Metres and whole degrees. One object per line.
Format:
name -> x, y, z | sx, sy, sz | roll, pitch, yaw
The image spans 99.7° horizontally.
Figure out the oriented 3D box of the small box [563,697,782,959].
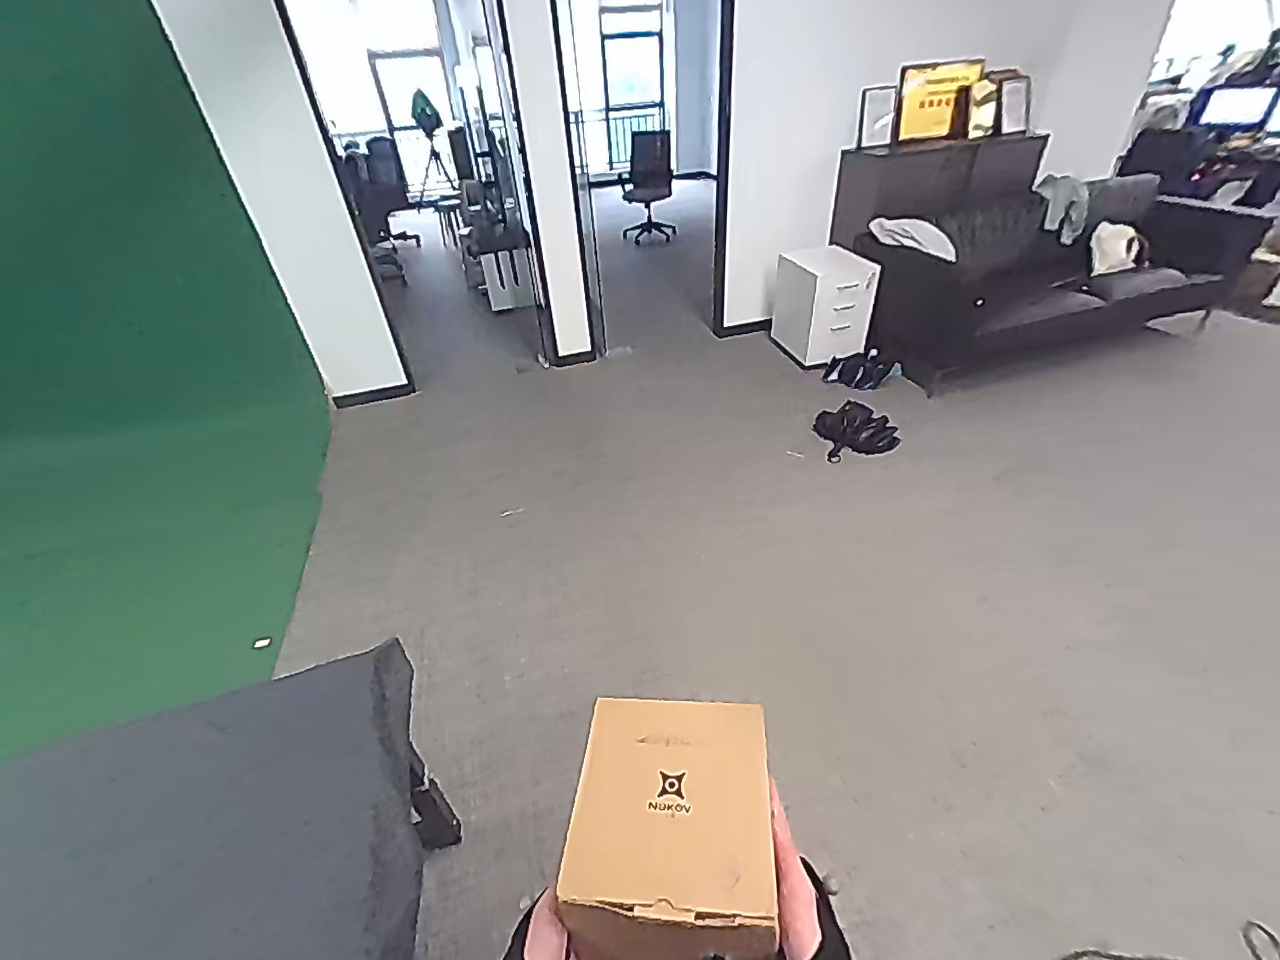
small box -> 0.039, 0.332, 0.502 | 0.168, 0.176, 0.179 | 0, 30, 8
